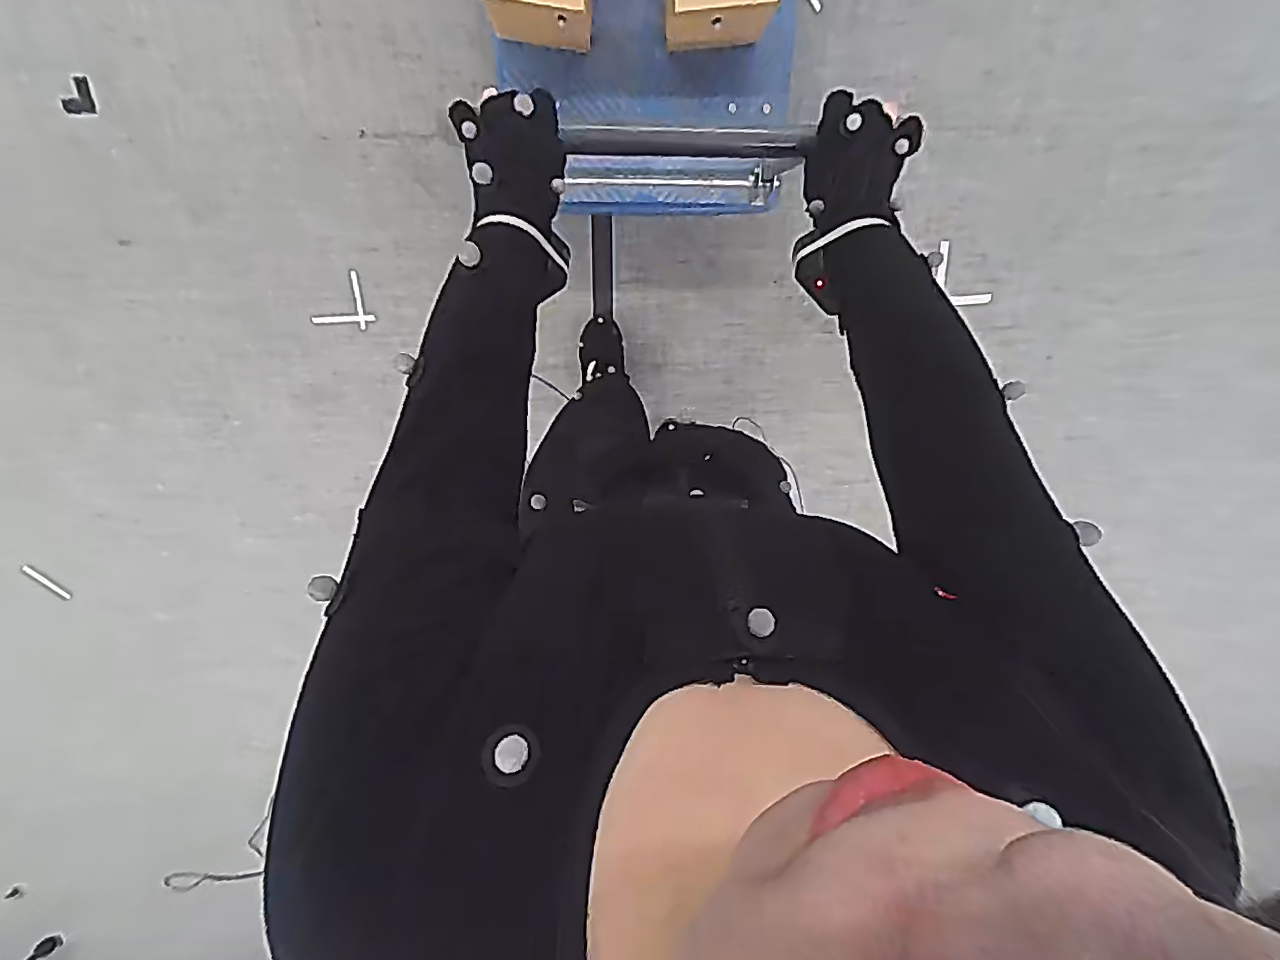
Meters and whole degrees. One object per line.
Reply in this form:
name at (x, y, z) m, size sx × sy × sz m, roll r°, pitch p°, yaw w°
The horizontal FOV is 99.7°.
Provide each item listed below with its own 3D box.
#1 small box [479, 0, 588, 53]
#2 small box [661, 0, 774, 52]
small box at (-0.178, -0.866, 0.921) m, size 0.179 × 0.176 × 0.168 m, roll 4°, pitch 109°, yaw -6°
small box at (0.126, -0.872, 0.933) m, size 0.179 × 0.176 × 0.168 m, roll -6°, pitch 111°, yaw 0°
